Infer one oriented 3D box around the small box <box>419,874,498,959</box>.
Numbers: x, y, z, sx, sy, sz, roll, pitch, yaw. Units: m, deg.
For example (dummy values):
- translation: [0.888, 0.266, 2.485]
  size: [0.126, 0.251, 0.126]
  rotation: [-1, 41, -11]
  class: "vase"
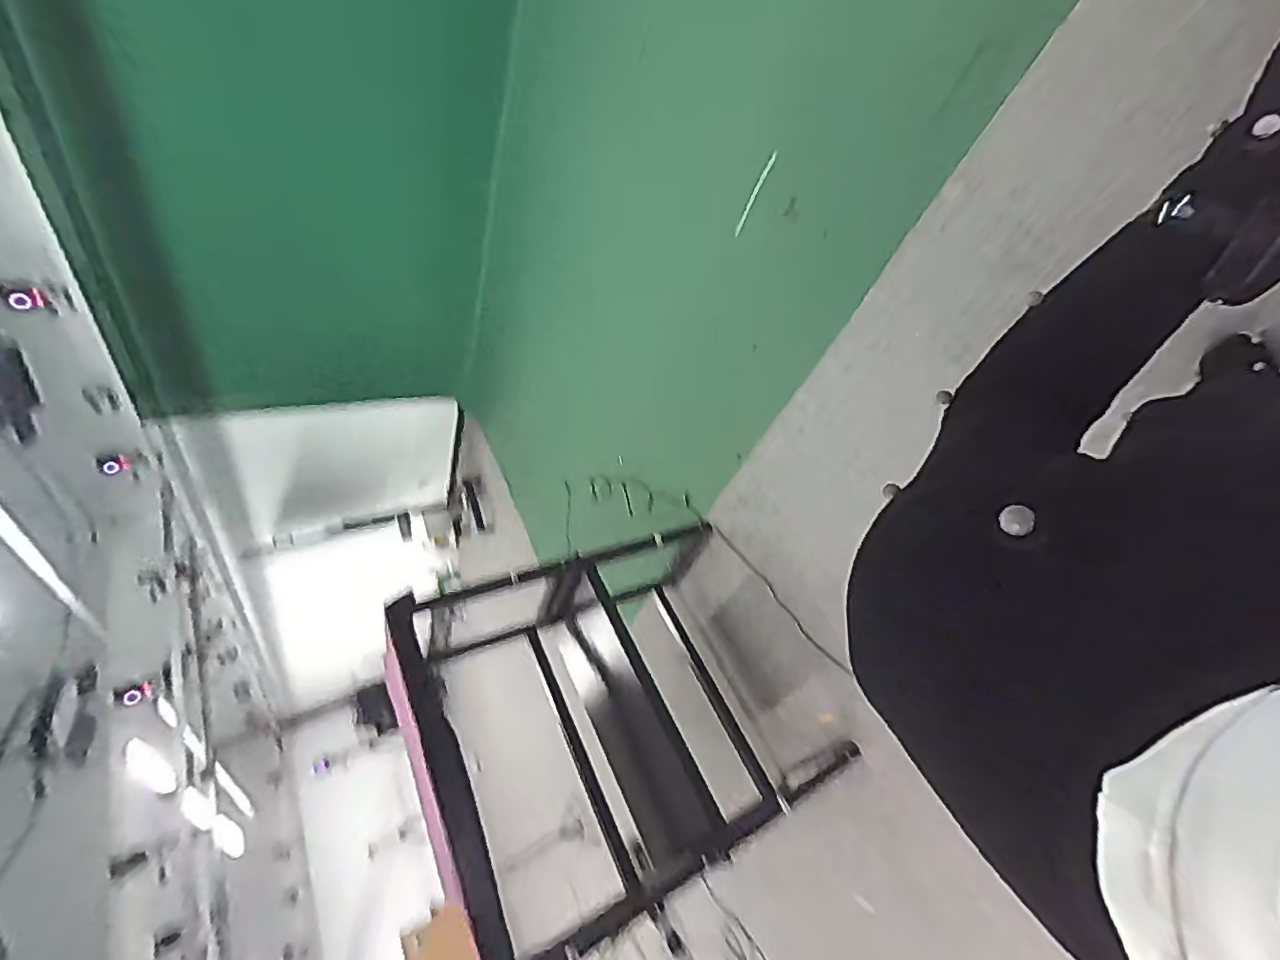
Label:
- translation: [-0.505, 1.242, 1.501]
  size: [0.179, 0.176, 0.168]
  rotation: [58, 144, 31]
  class: "small box"
